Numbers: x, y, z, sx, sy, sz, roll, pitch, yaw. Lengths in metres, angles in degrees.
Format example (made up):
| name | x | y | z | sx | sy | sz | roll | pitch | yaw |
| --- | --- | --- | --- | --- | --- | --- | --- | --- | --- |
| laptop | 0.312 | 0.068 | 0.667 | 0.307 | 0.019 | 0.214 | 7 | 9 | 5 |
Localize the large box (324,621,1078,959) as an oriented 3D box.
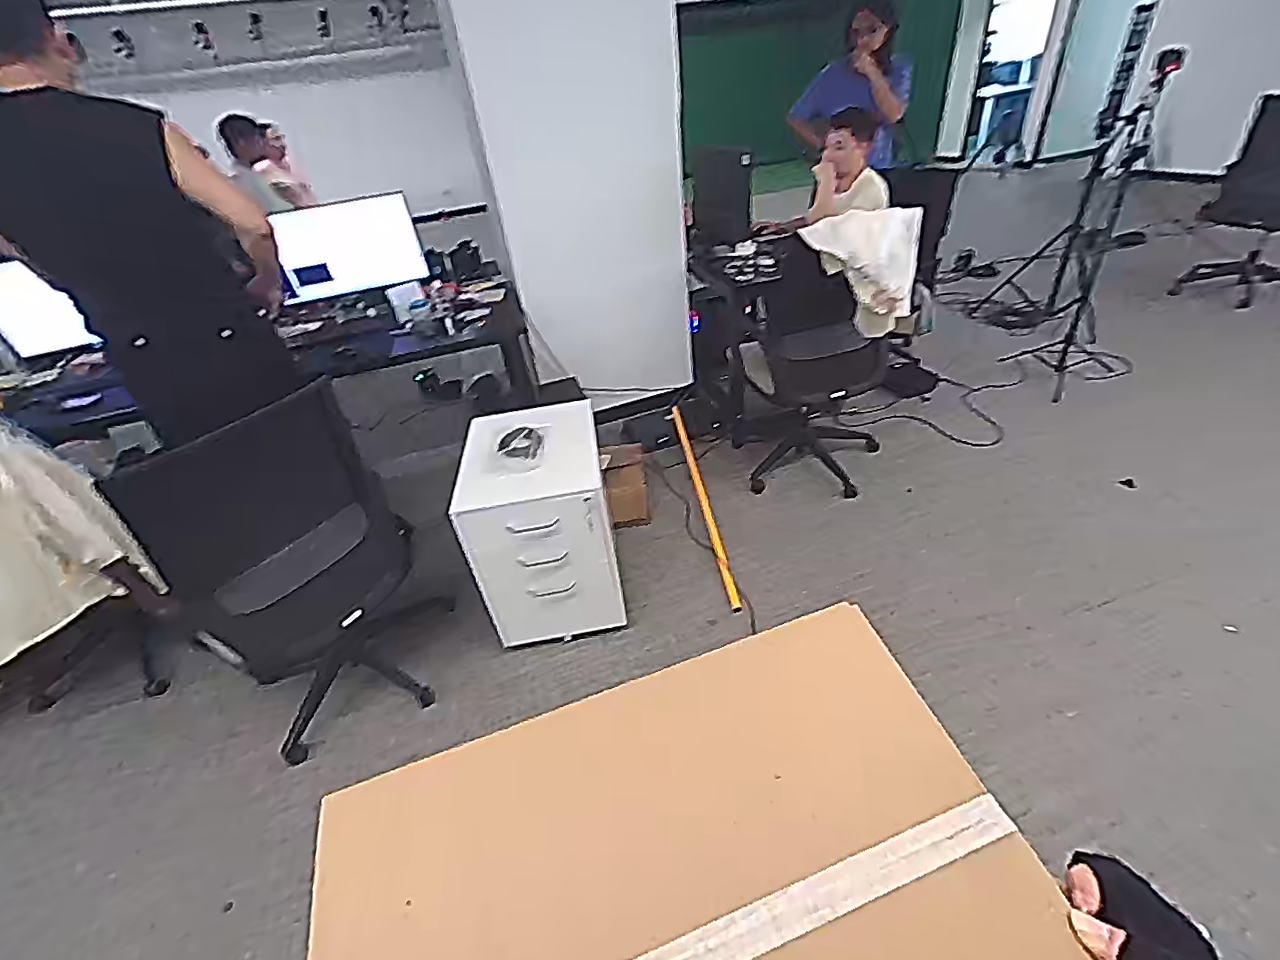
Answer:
| name | x | y | z | sx | sy | sz | roll | pitch | yaw |
| --- | --- | --- | --- | --- | --- | --- | --- | --- | --- |
| large box | 0.042 | 0.373 | 0.405 | 0.408 | 0.320 | 0.320 | -18 | 47 | -9 |
